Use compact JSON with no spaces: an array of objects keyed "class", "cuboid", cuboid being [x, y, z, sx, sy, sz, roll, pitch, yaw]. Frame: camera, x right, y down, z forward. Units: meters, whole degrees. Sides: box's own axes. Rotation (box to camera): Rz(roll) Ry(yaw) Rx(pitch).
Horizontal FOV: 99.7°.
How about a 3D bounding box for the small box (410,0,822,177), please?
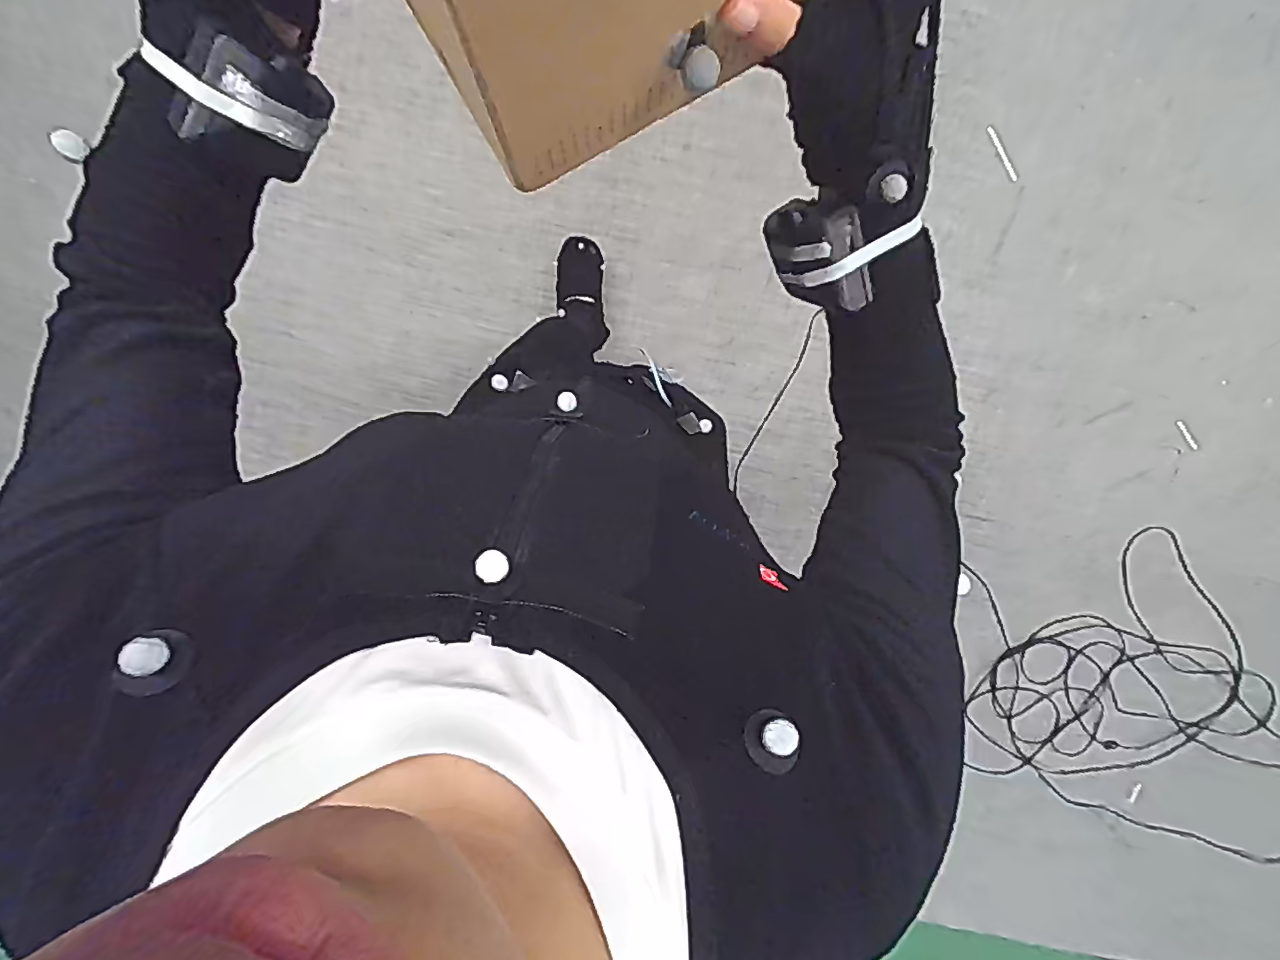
[{"class":"small box","cuboid":[-0.015,-0.243,0.170,0.179,0.176,0.168,-30,95,-2]}]
